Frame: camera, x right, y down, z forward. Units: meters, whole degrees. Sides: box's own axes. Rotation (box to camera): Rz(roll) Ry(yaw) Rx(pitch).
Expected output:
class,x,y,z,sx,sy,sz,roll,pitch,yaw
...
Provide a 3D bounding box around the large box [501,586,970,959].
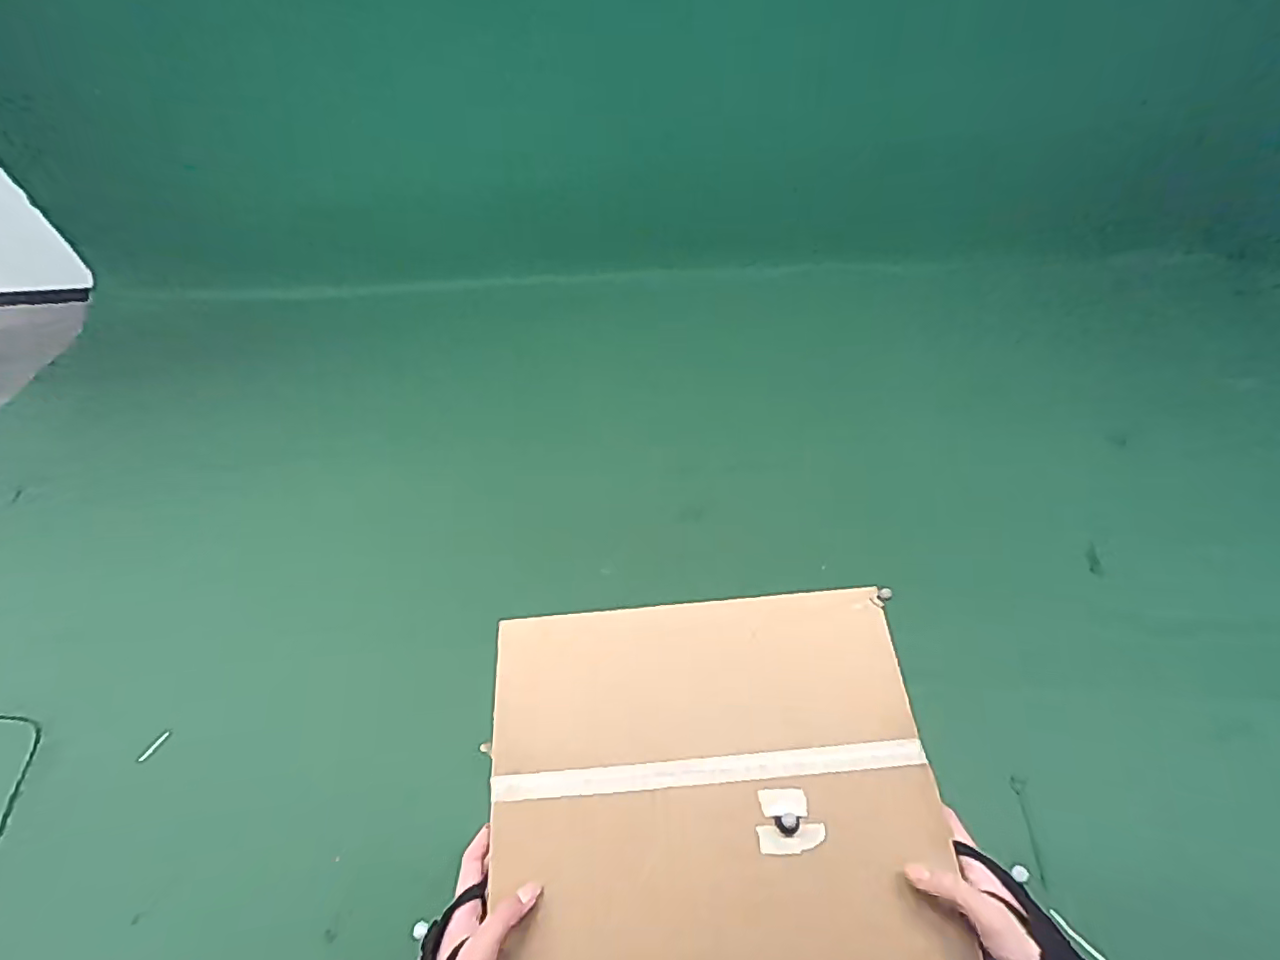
class,x,y,z,sx,sy,sz,roll,pitch,yaw
large box,0.072,0.340,0.648,0.408,0.320,0.320,-6,63,1
